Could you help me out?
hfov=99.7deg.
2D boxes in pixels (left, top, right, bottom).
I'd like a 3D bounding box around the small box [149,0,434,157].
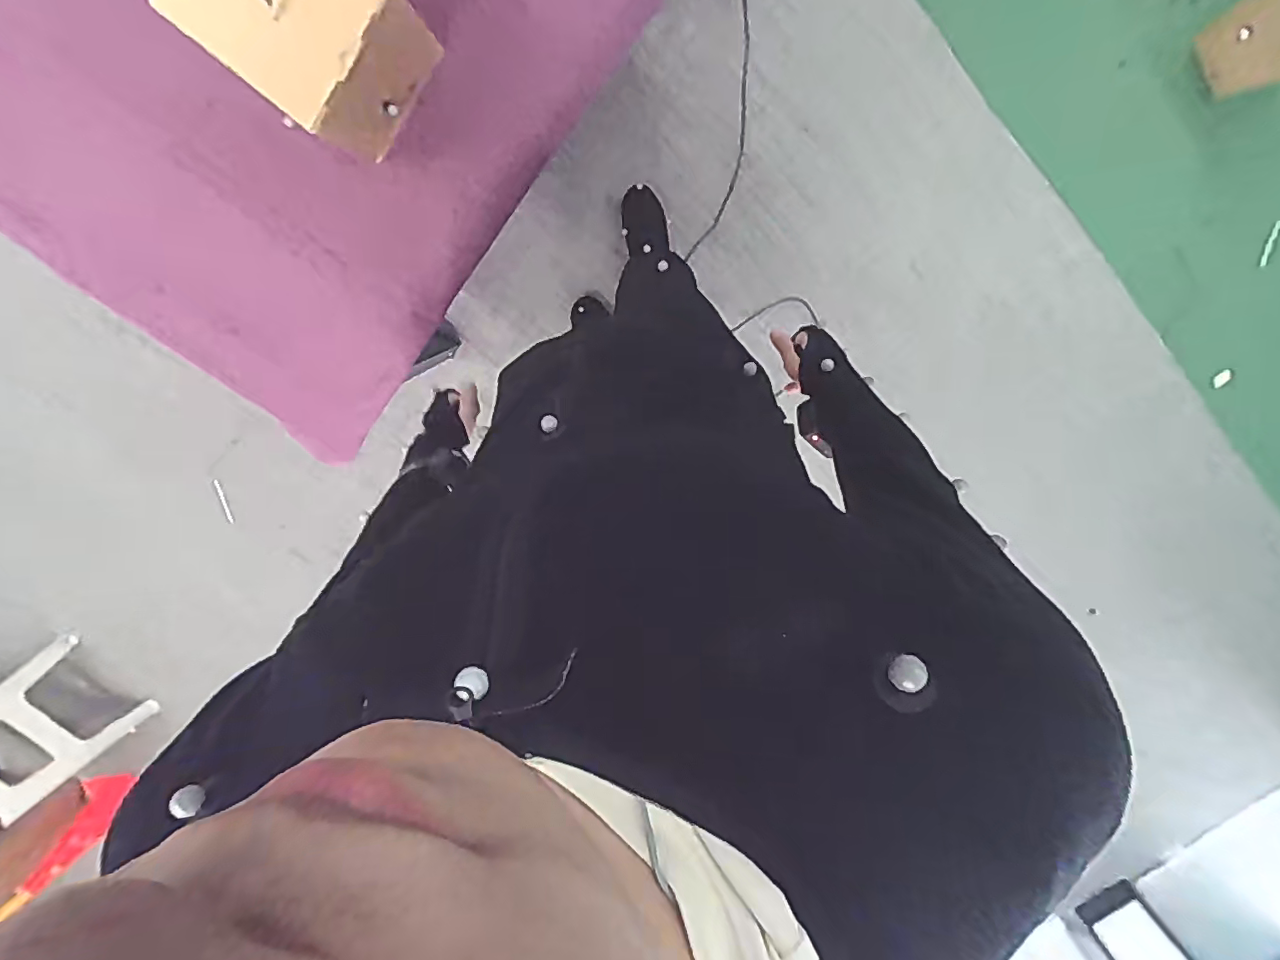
[{"bbox_3d":[-0.366,-0.498,0.602,0.179,0.176,0.168,36,105,-16],"label":"small box"}]
